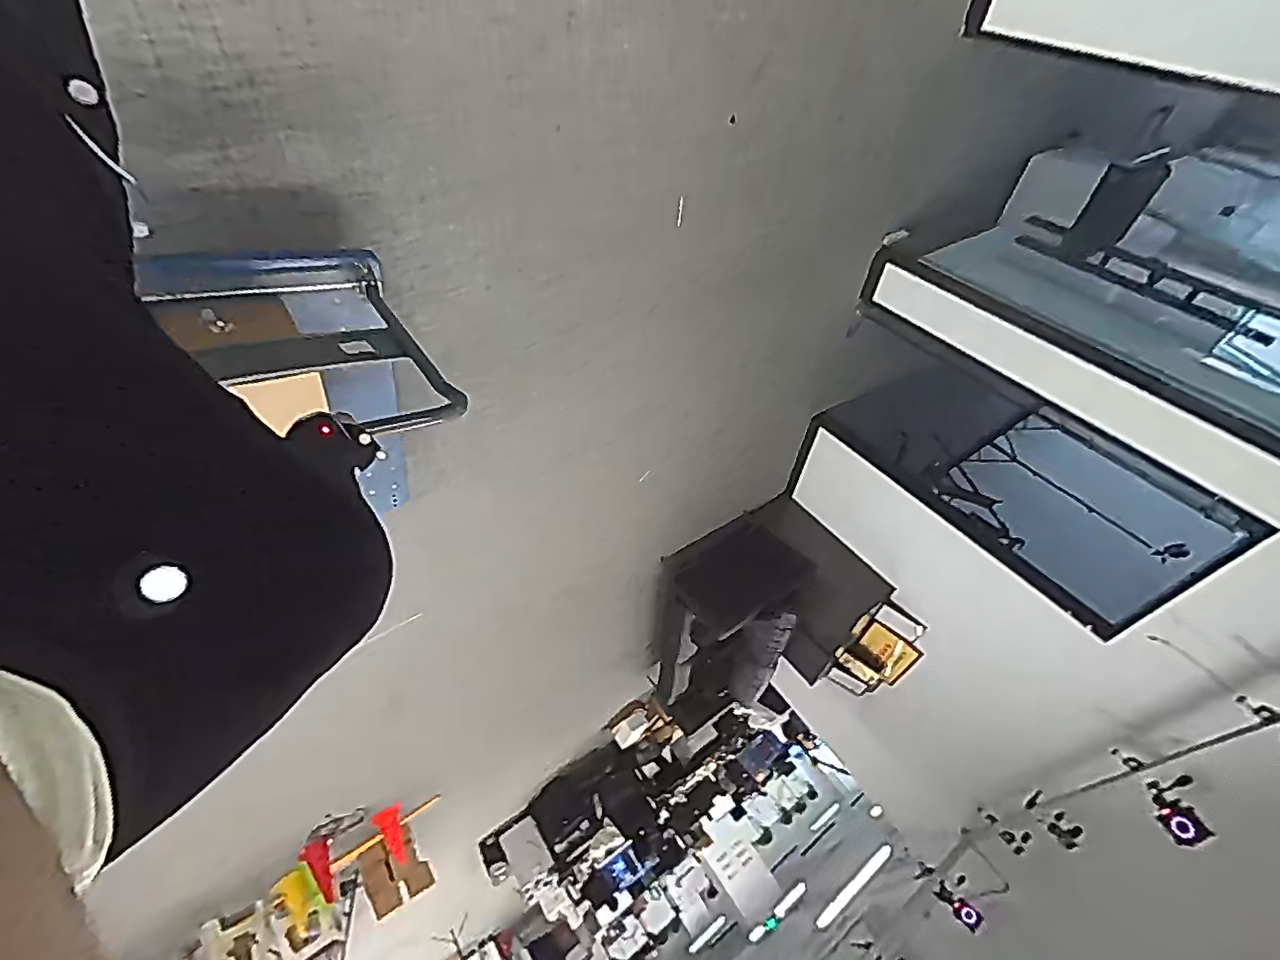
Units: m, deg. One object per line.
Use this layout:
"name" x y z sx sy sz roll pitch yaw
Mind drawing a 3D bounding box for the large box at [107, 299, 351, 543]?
"large box" -0.900 -0.140 1.221 0.320 0.320 0.408 -20 143 -32
